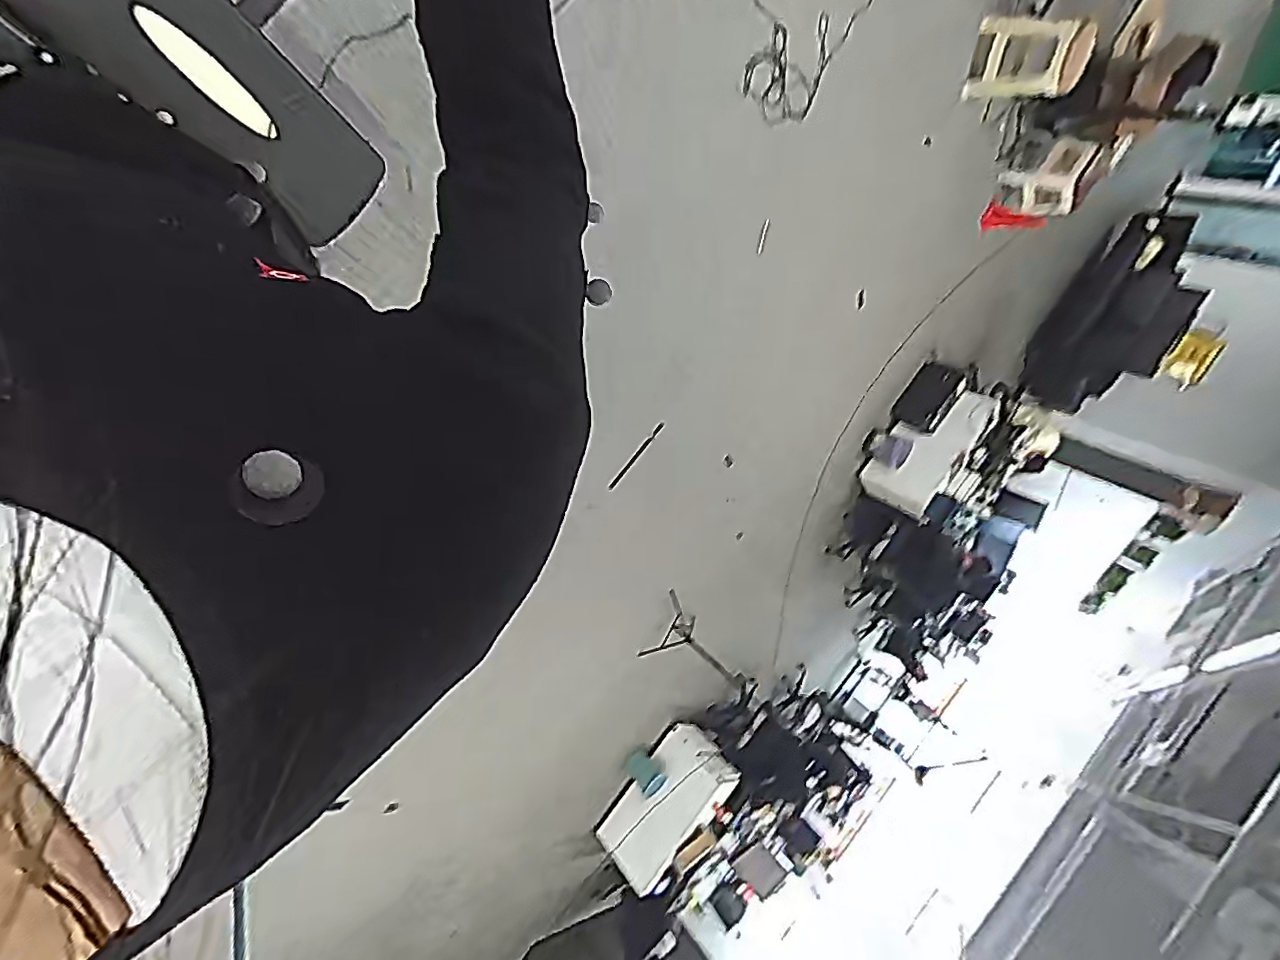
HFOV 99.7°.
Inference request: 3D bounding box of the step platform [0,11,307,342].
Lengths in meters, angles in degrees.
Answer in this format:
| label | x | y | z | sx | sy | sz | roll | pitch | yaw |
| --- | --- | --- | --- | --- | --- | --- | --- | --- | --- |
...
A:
| label | x | y | z | sx | sy | sz | roll | pitch | yaw |
| --- | --- | --- | --- | --- | --- | --- | --- | --- | --- |
| step platform | -1.020 | -0.565 | 1.010 | 0.286 | 0.204 | 0.684 | -53 | 141 | -2 |
